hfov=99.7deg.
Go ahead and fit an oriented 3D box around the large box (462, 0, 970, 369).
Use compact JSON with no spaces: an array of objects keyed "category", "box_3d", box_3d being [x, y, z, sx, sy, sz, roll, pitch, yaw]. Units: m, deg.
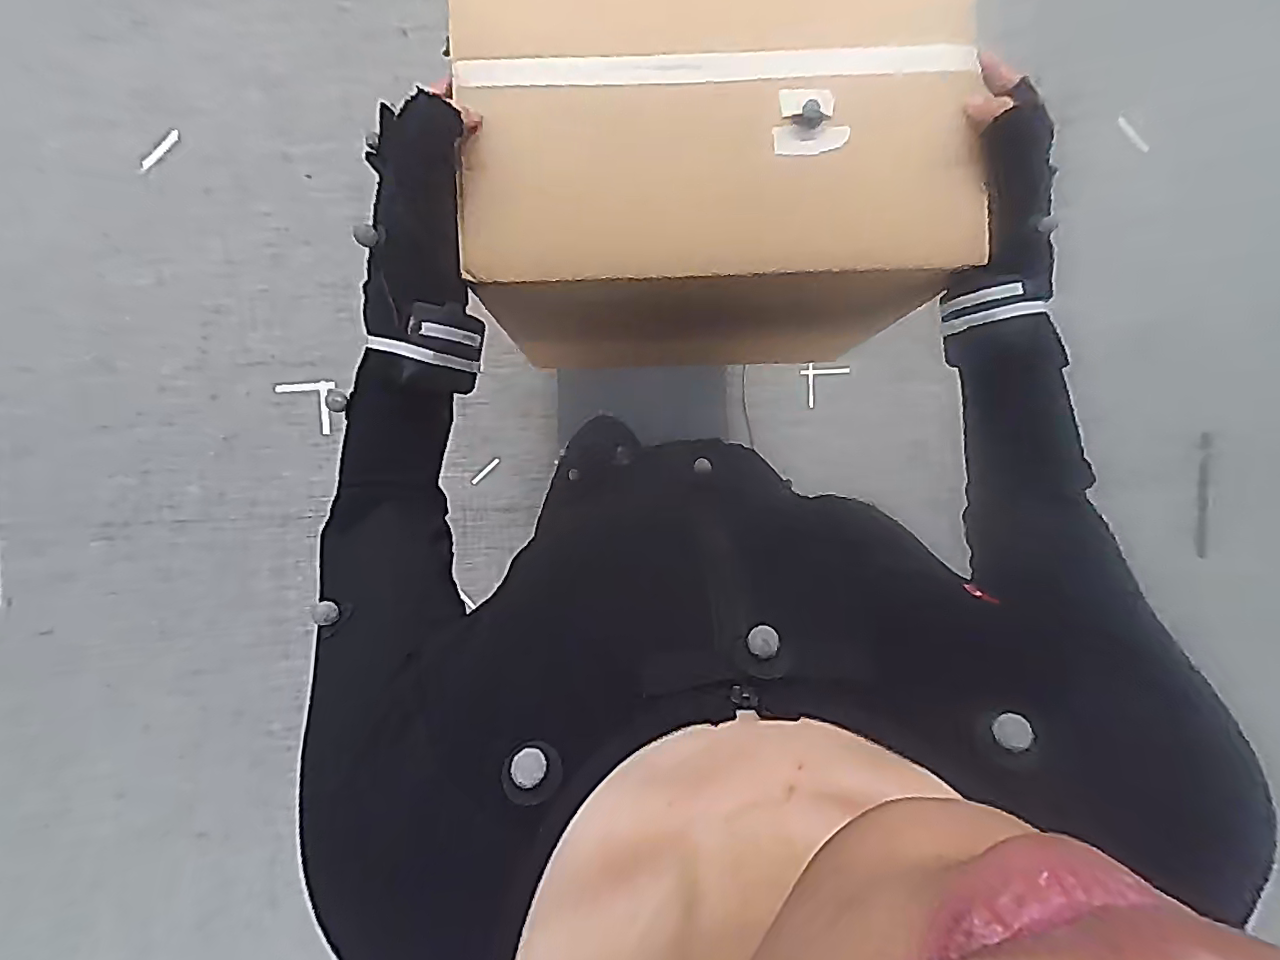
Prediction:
[{"category":"large box","box_3d":[0.055,-0.314,0.582,0.408,0.320,0.320,-2,89,-1]}]
